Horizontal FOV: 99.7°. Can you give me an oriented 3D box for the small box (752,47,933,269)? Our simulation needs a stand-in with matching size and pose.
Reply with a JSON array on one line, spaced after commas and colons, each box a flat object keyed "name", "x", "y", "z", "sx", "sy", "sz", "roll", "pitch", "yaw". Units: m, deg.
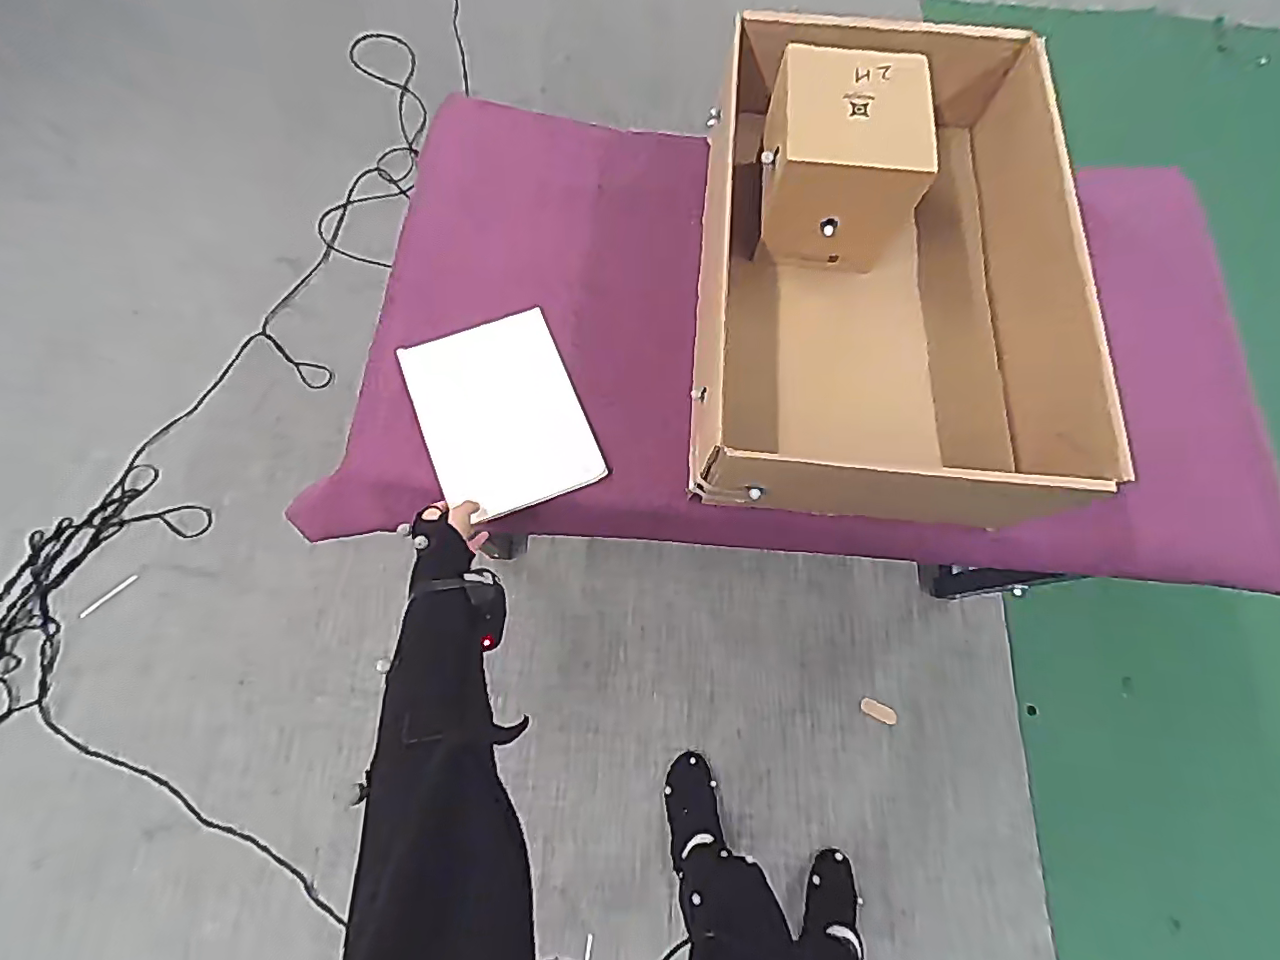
[{"name": "small box", "x": 0.241, "y": -0.392, "z": 0.682, "sx": 0.168, "sy": 0.176, "sz": 0.179, "roll": 5, "pitch": 73, "yaw": 0}]
